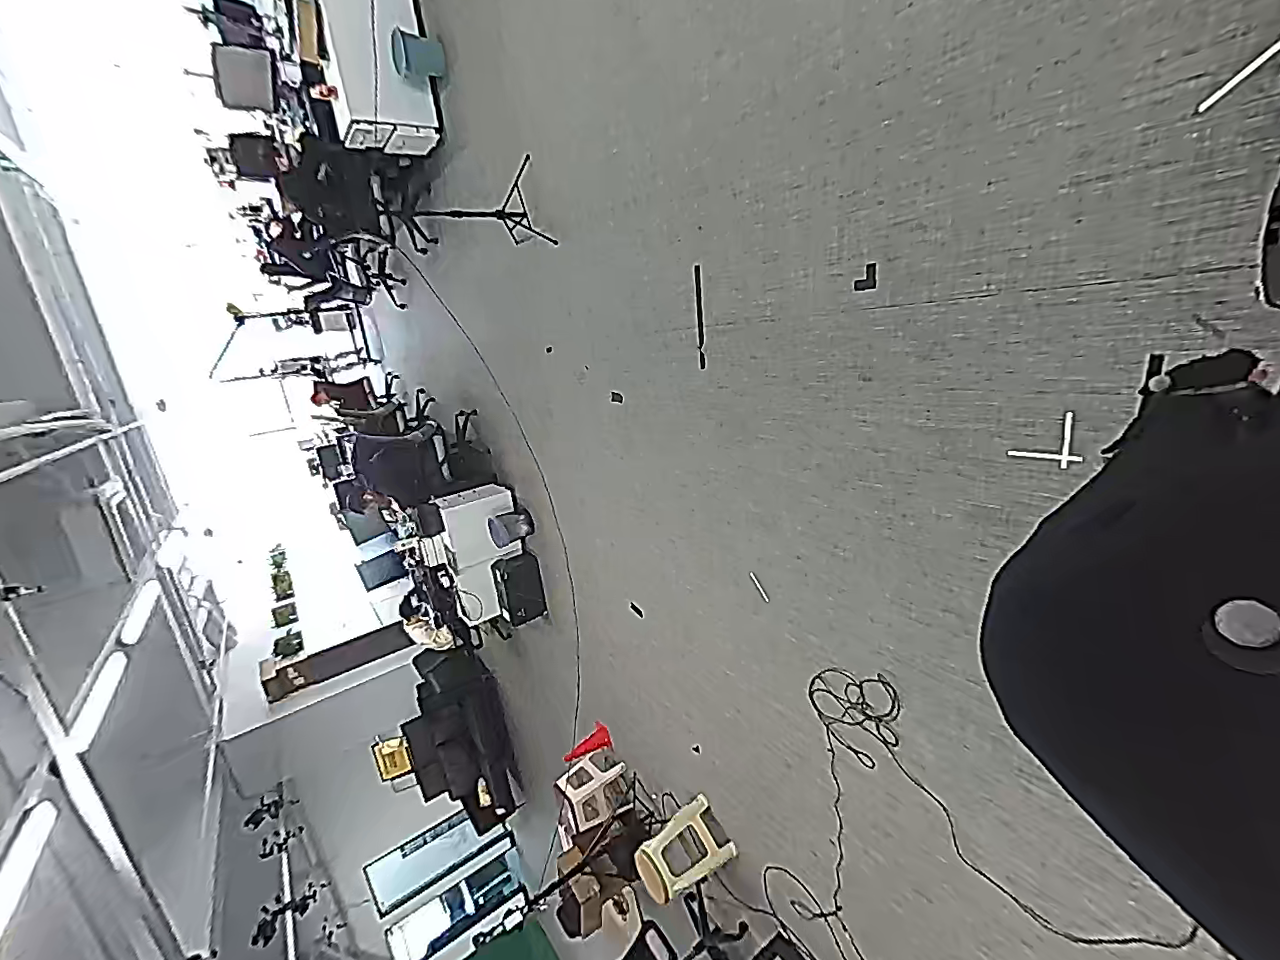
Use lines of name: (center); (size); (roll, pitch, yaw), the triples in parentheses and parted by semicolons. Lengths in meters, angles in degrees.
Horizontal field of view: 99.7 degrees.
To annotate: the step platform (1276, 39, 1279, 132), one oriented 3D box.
step platform: (1.184, -0.616, 0.559); (0.684, 0.204, 0.286); (13, 117, 53)
